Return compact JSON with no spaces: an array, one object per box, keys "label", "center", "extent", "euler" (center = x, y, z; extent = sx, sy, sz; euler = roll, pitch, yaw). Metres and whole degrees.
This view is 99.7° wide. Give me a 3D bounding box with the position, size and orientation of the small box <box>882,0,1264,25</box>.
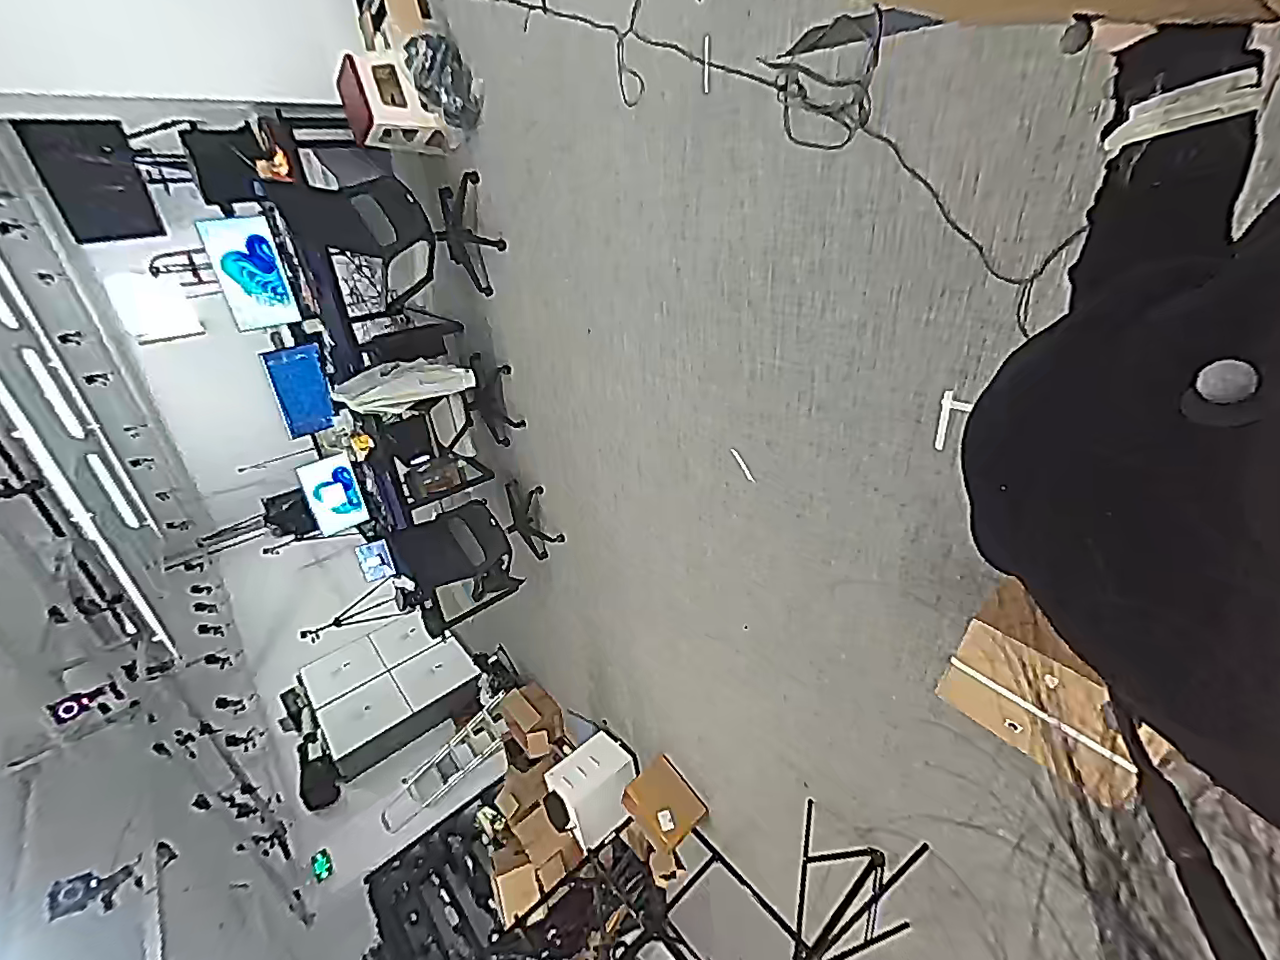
[{"label":"small box","center":[0.243,-0.332,0.255],"extent":[0.179,0.176,0.168],"euler":[38,138,36]}]
